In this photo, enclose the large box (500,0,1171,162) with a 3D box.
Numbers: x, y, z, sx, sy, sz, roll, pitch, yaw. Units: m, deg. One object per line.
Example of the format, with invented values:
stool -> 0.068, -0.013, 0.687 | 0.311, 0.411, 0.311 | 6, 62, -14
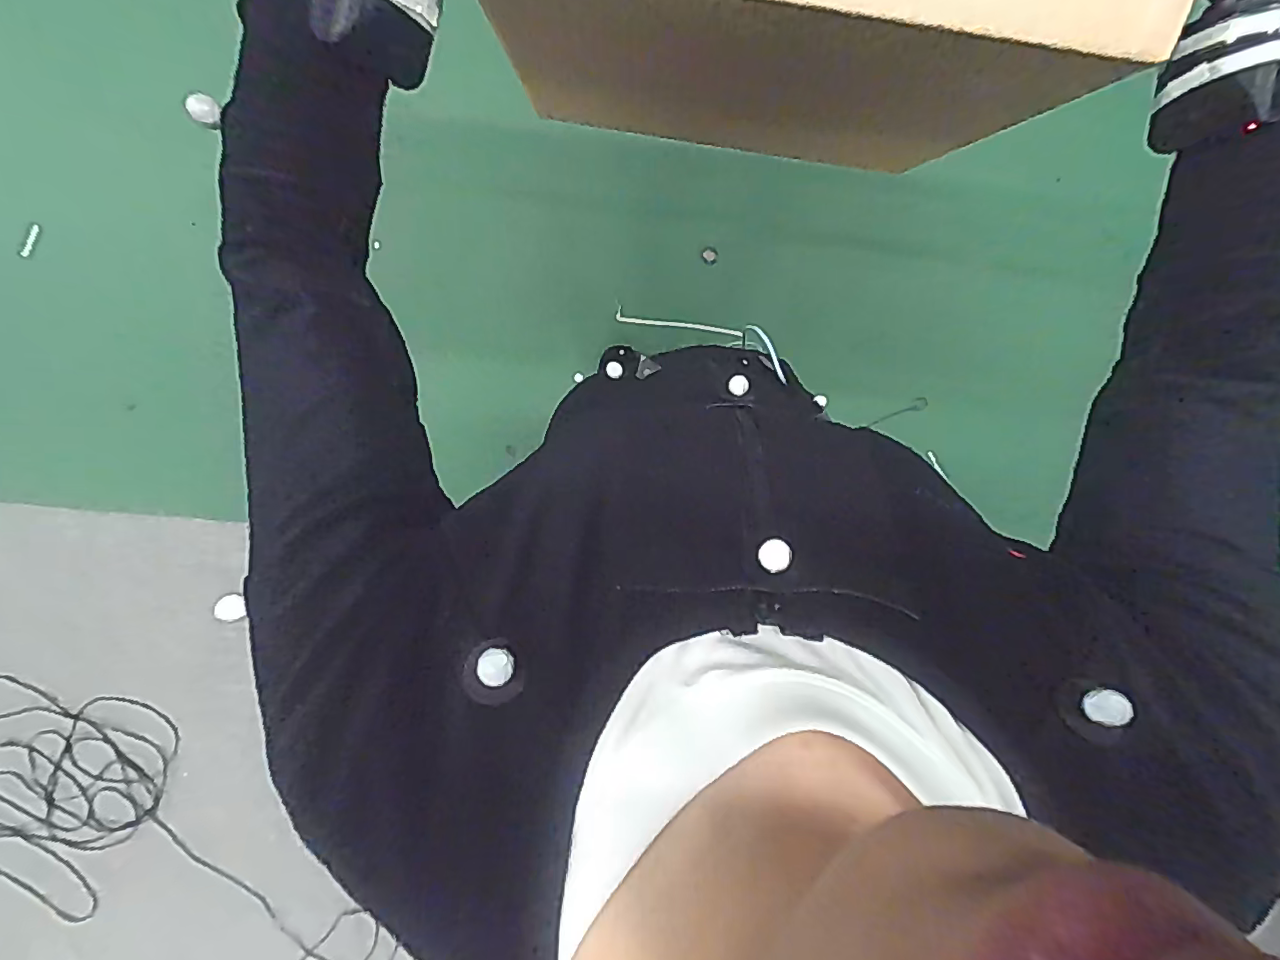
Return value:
large box -> 0.113, -0.461, 0.394 | 0.408, 0.320, 0.320 | 6, 109, -5
